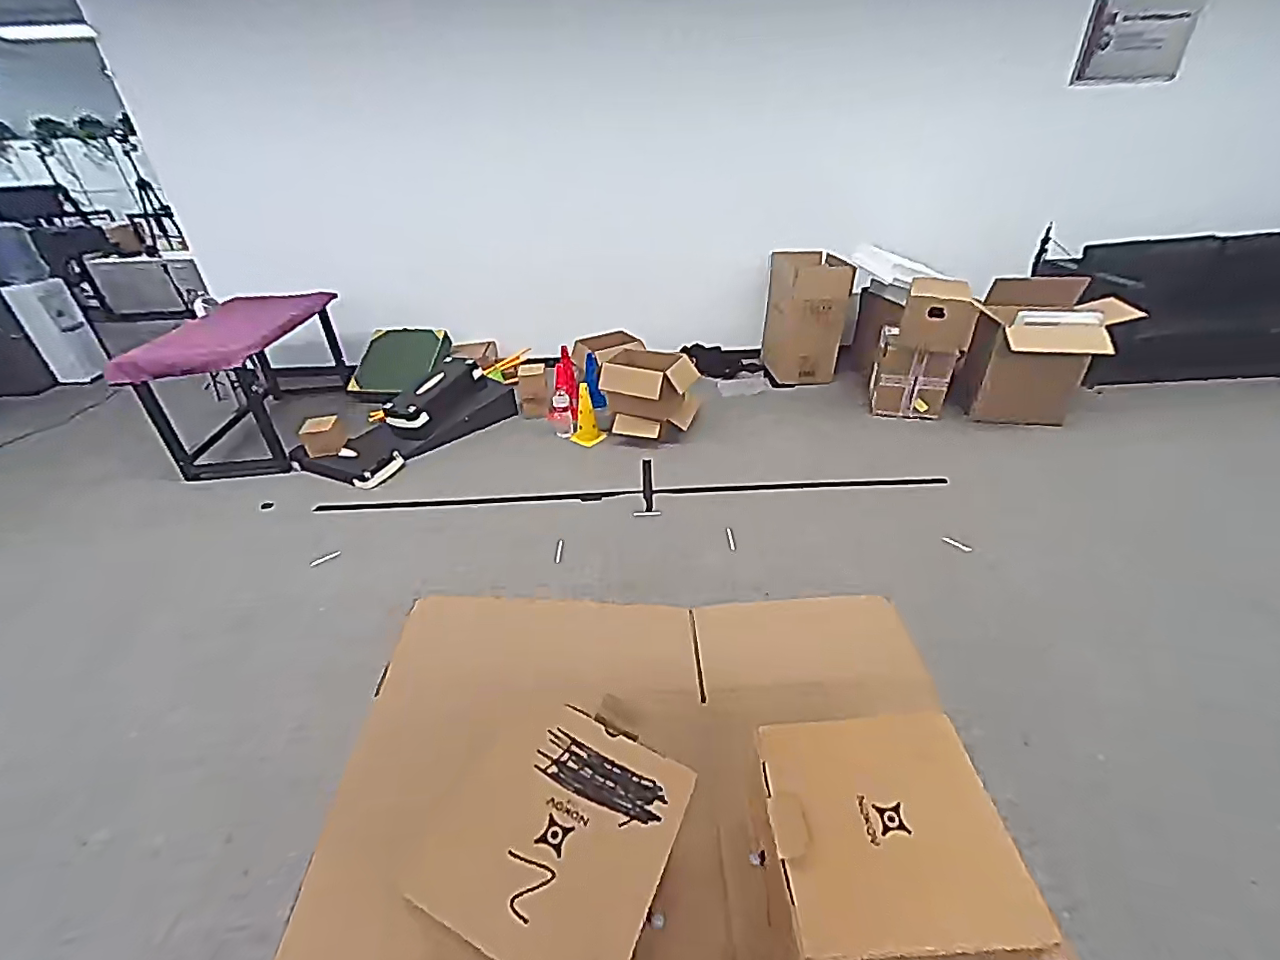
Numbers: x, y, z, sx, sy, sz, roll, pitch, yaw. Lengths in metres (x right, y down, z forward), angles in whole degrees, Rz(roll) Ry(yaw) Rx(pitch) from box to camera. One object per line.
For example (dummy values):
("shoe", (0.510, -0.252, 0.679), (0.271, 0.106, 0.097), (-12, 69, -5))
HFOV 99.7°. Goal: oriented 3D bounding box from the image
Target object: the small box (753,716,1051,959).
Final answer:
("small box", (0.206, 0.338, 0.490), (0.179, 0.176, 0.168), (-5, 37, 1))
